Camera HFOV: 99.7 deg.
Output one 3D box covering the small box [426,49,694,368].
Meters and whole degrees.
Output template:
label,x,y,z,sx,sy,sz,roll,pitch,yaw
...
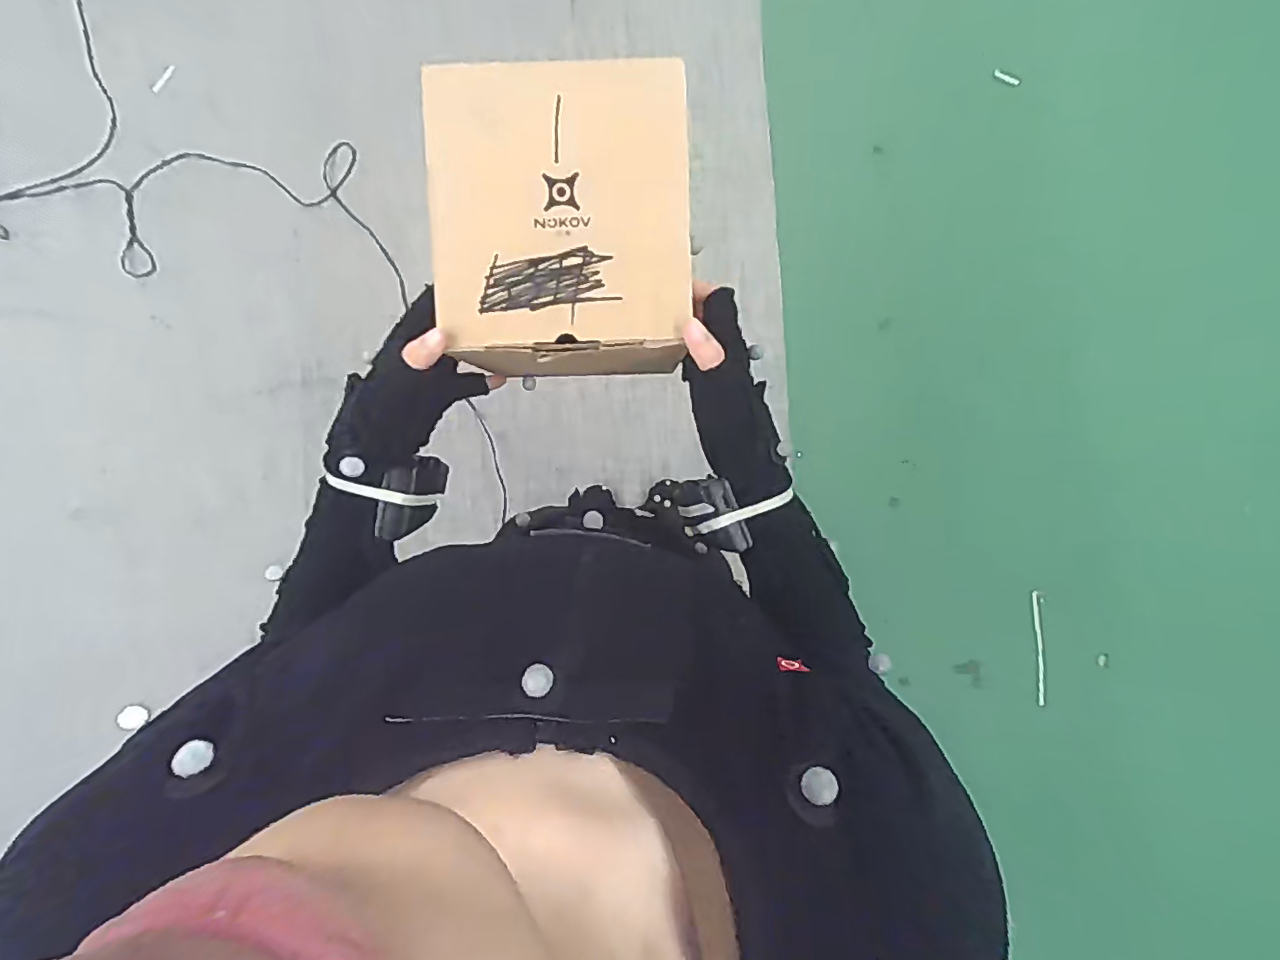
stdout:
label,x,y,z,sx,sy,sz,roll,pitch,yaw
small box,-0.048,-0.181,0.416,0.168,0.176,0.179,-2,94,-1
